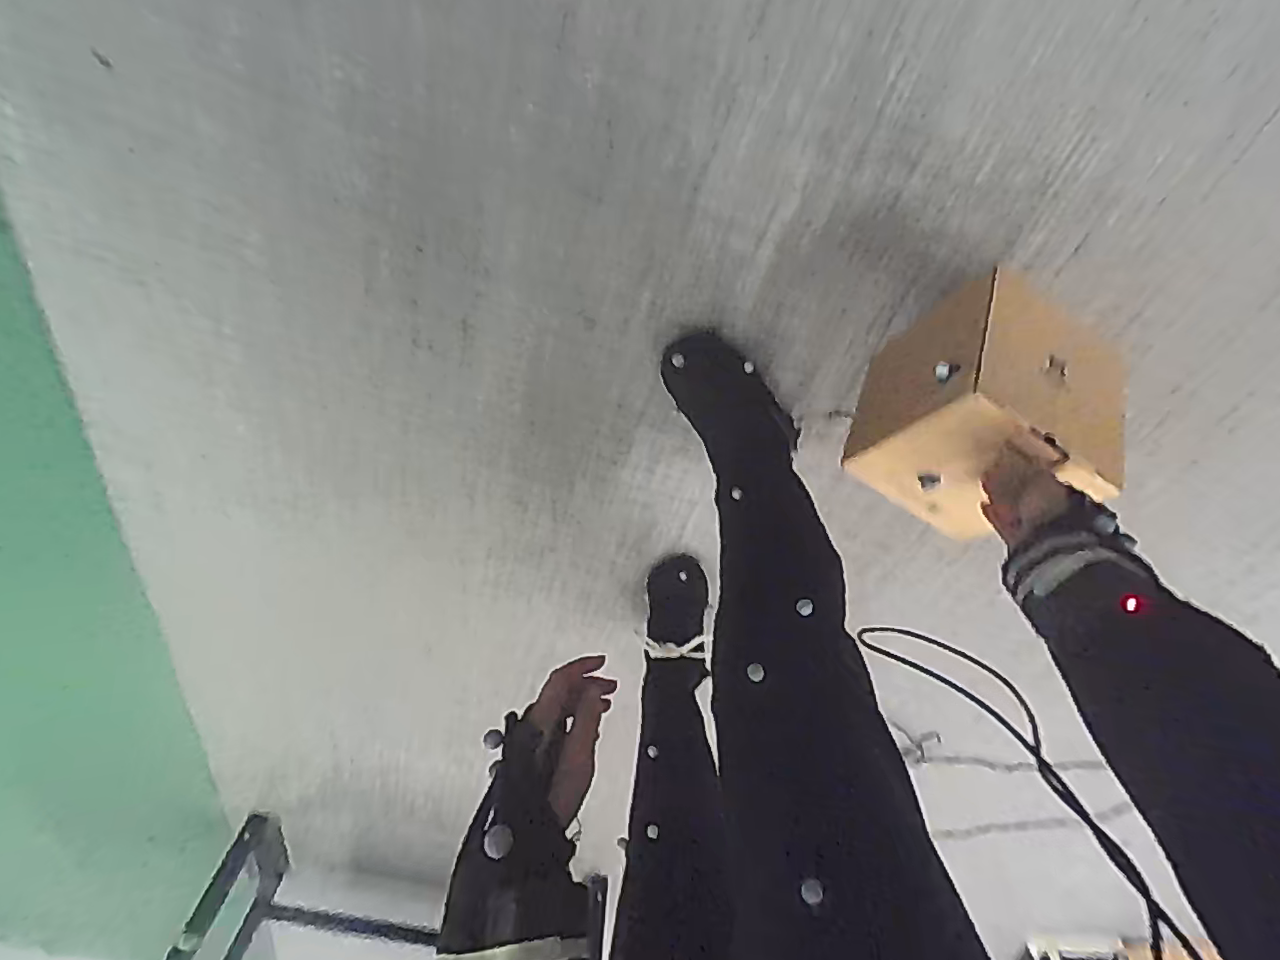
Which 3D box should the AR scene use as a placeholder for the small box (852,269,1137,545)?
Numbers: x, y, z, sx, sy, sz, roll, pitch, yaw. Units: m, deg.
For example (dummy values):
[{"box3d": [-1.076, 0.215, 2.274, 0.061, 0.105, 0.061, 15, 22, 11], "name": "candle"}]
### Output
[{"box3d": [0.341, -0.062, 0.541, 0.168, 0.179, 0.176, 31, 151, -7], "name": "small box"}]
